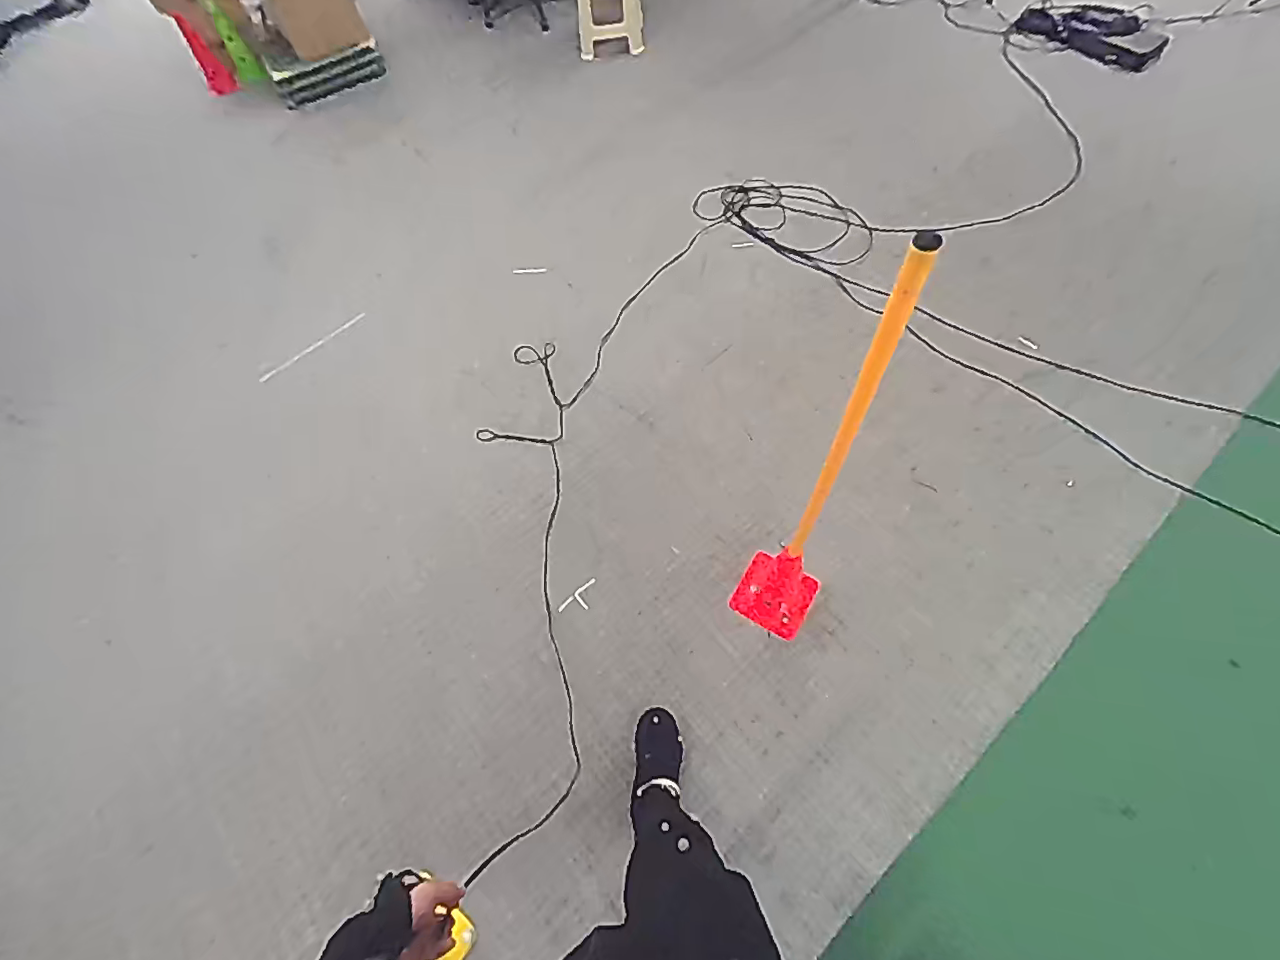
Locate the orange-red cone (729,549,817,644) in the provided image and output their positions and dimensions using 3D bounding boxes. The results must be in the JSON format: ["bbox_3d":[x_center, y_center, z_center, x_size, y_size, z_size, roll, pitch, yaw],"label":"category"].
[{"bbox_3d":[0.361,0.254,1.373,0.198,0.360,0.199,29,67,18],"label":"orange-red cone"}]
